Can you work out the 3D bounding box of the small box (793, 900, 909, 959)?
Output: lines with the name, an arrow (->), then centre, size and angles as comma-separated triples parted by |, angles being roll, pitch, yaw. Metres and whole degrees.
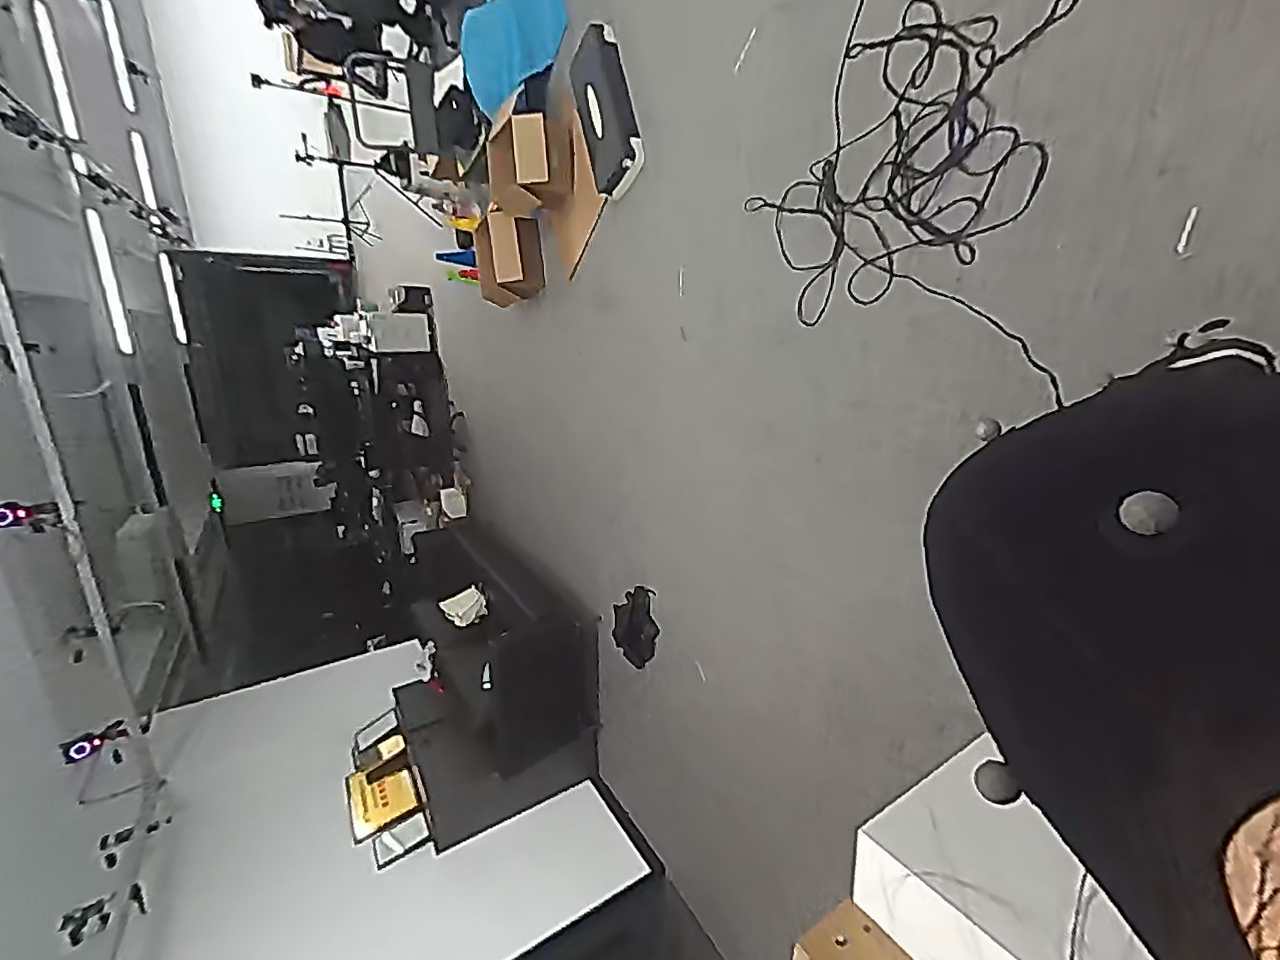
small box -> 0.408, 0.960, 1.024 | 0.168, 0.176, 0.179 | 22, 118, 55
